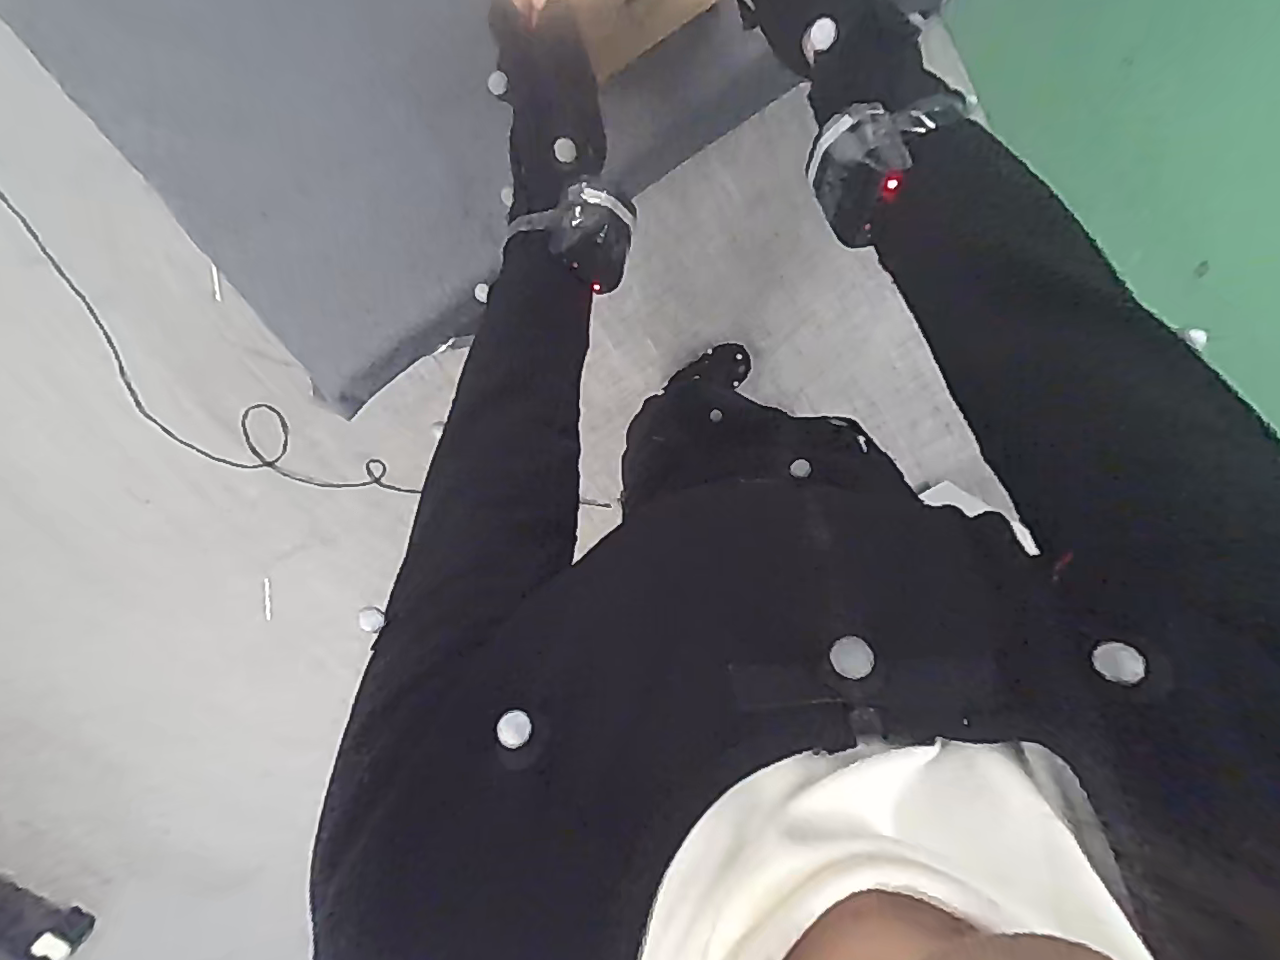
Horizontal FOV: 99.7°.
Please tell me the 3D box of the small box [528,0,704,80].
[{"bbox_3d":[-0.033,-0.476,0.437,0.179,0.176,0.168,-27,105,14],"label":"small box"}]
